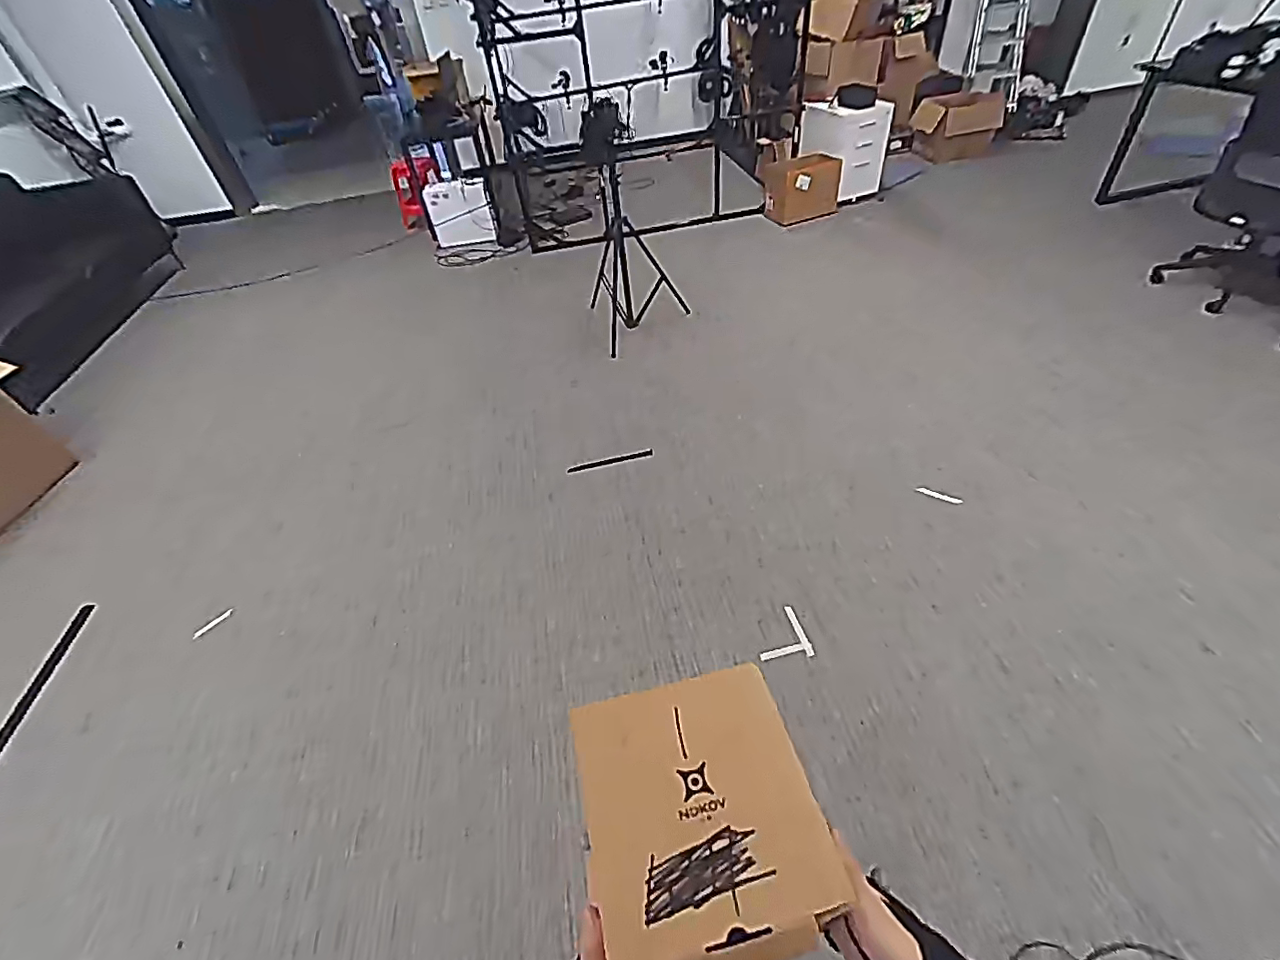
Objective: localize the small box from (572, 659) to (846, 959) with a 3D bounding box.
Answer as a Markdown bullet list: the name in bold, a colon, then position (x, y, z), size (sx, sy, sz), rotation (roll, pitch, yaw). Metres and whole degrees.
- **small box**: position (0.046, 0.287, 0.458), size (0.168, 0.176, 0.179), rotation (-12, 44, -7)
